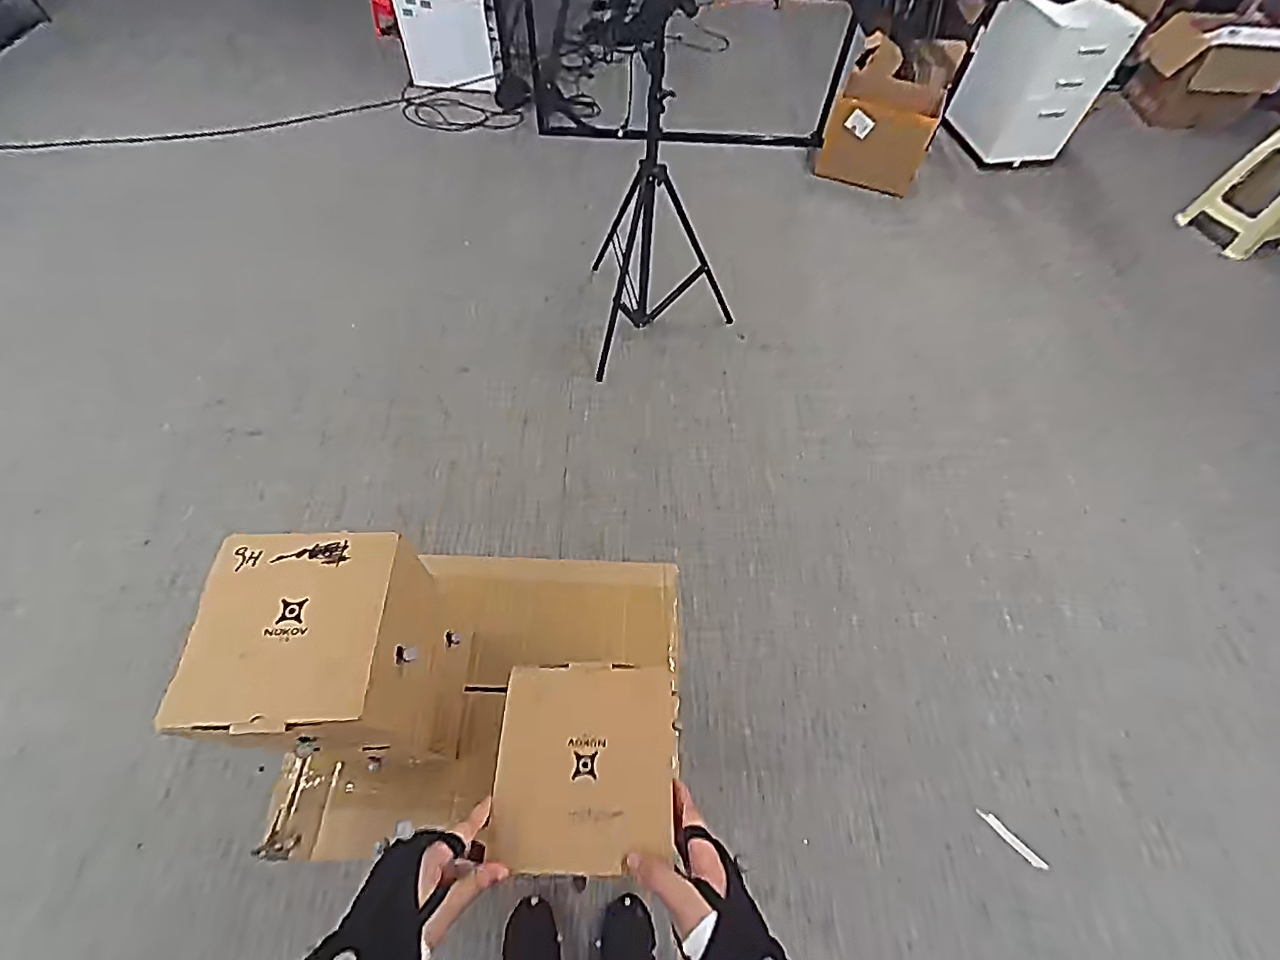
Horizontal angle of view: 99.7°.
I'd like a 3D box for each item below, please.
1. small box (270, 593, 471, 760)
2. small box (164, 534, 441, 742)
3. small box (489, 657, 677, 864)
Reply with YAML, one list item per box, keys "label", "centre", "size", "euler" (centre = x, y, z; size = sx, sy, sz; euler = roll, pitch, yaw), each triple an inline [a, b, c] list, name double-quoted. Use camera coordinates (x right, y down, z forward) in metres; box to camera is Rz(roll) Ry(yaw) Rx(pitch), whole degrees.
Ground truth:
- label: "small box"
  centre: [-0.323, 0.255, 0.694]
  size: [0.168, 0.176, 0.179]
  euler: [1, 59, -3]
- label: "small box"
  centre: [-0.316, 0.168, 0.555]
  size: [0.168, 0.176, 0.179]
  euler: [-1, 60, -4]
- label: "small box"
  centre: [-0.049, 0.301, 0.577]
  size: [0.168, 0.176, 0.179]
  euler: [-1, 57, 1]
